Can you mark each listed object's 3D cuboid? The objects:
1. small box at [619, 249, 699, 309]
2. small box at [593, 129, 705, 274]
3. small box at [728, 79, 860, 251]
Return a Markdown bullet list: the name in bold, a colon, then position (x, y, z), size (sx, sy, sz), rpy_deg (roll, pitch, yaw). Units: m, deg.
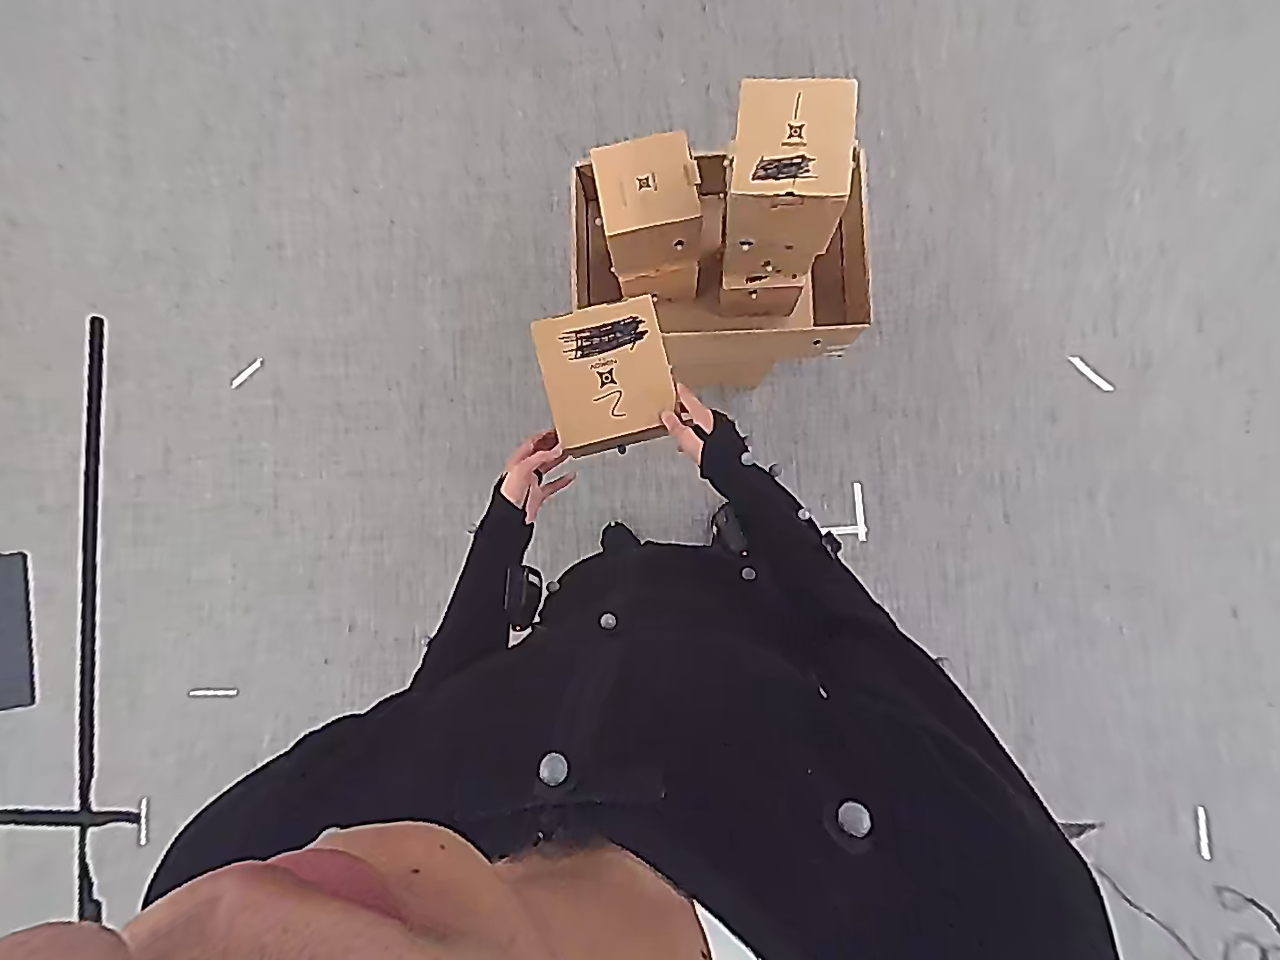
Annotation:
- **small box**: position (0.031, -0.500, 1.184), size (0.168, 0.176, 0.179), rpy_deg (-10, 87, 3)
- **small box**: position (0.017, -0.514, 1.021), size (0.179, 0.176, 0.168), rpy_deg (-10, 86, 2)
- **small box**: position (0.228, -0.476, 0.840), size (0.168, 0.176, 0.179), rpy_deg (6, 87, 7)
